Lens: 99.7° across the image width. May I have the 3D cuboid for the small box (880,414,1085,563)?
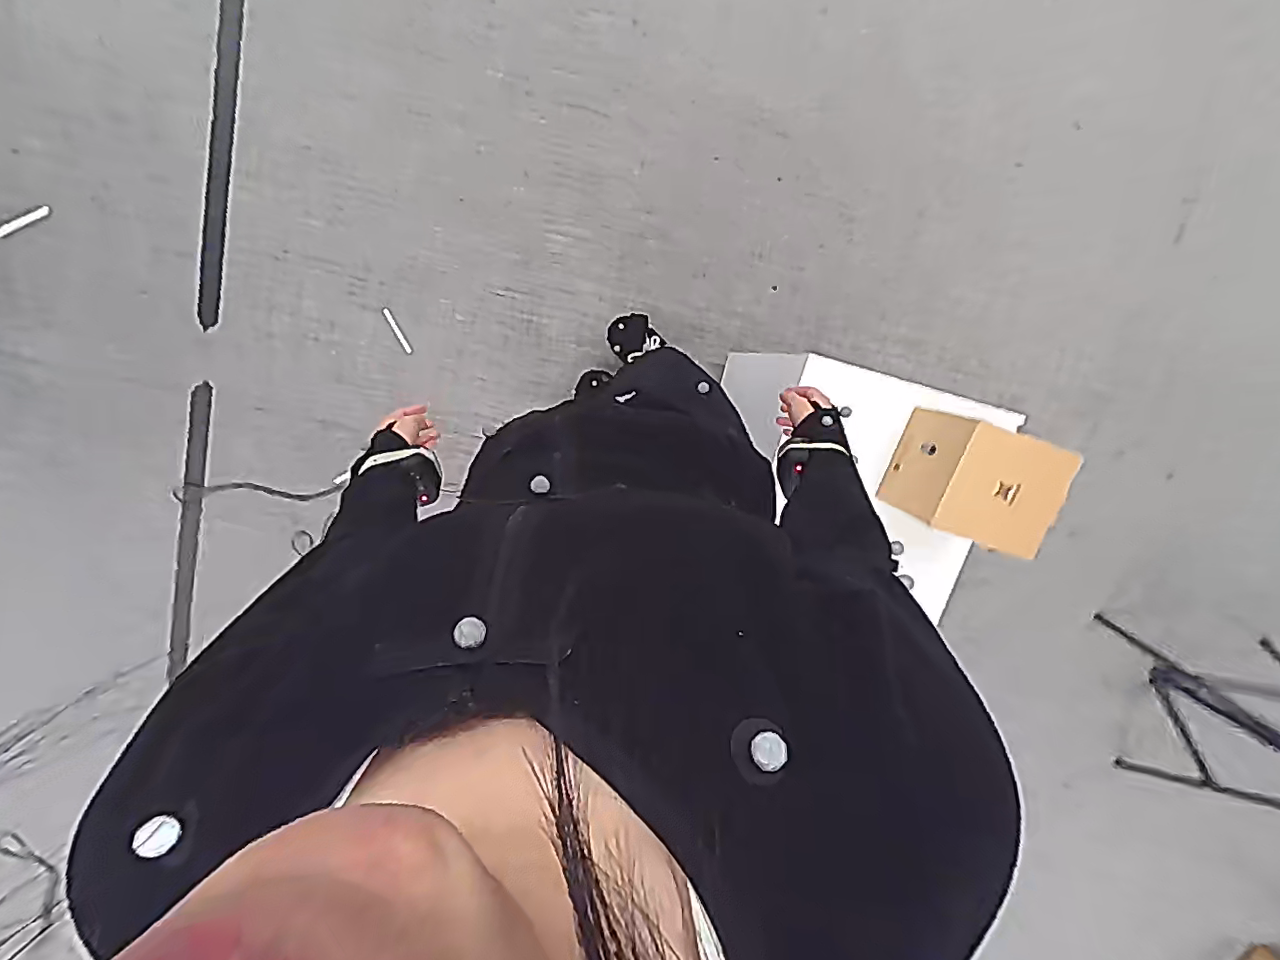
[{"bbox_3d":[0.509,0.003,0.836,0.179,0.176,0.168,18,102,-8],"label":"small box"}]
